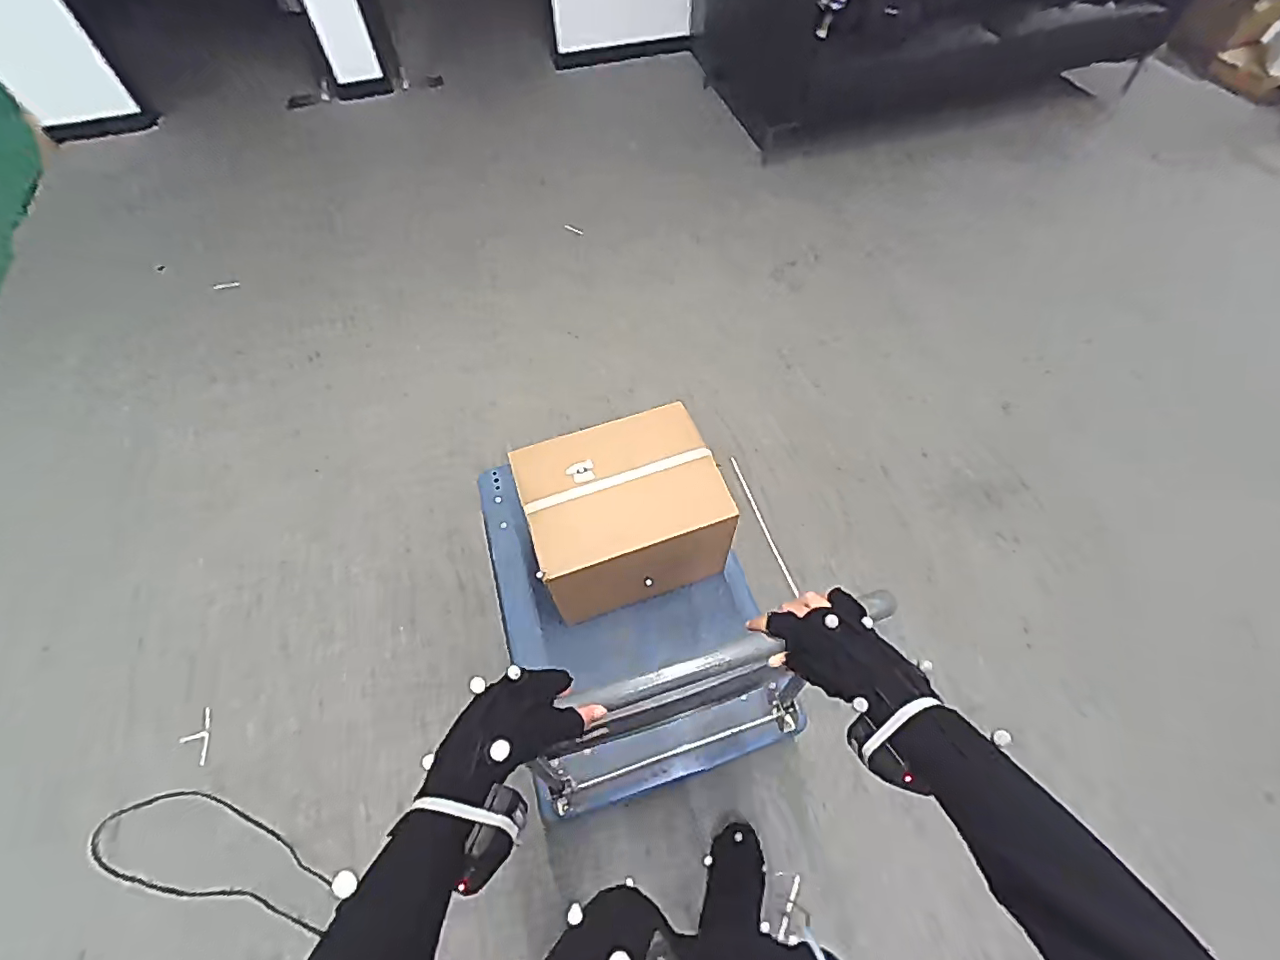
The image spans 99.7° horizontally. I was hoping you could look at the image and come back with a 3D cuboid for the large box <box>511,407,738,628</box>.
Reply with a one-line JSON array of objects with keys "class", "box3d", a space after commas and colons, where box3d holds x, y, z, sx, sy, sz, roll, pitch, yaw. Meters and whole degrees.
[{"class": "large box", "box3d": [-0.035, 0.094, 1.249, 0.408, 0.320, 0.320, -19, 59, -9]}]
